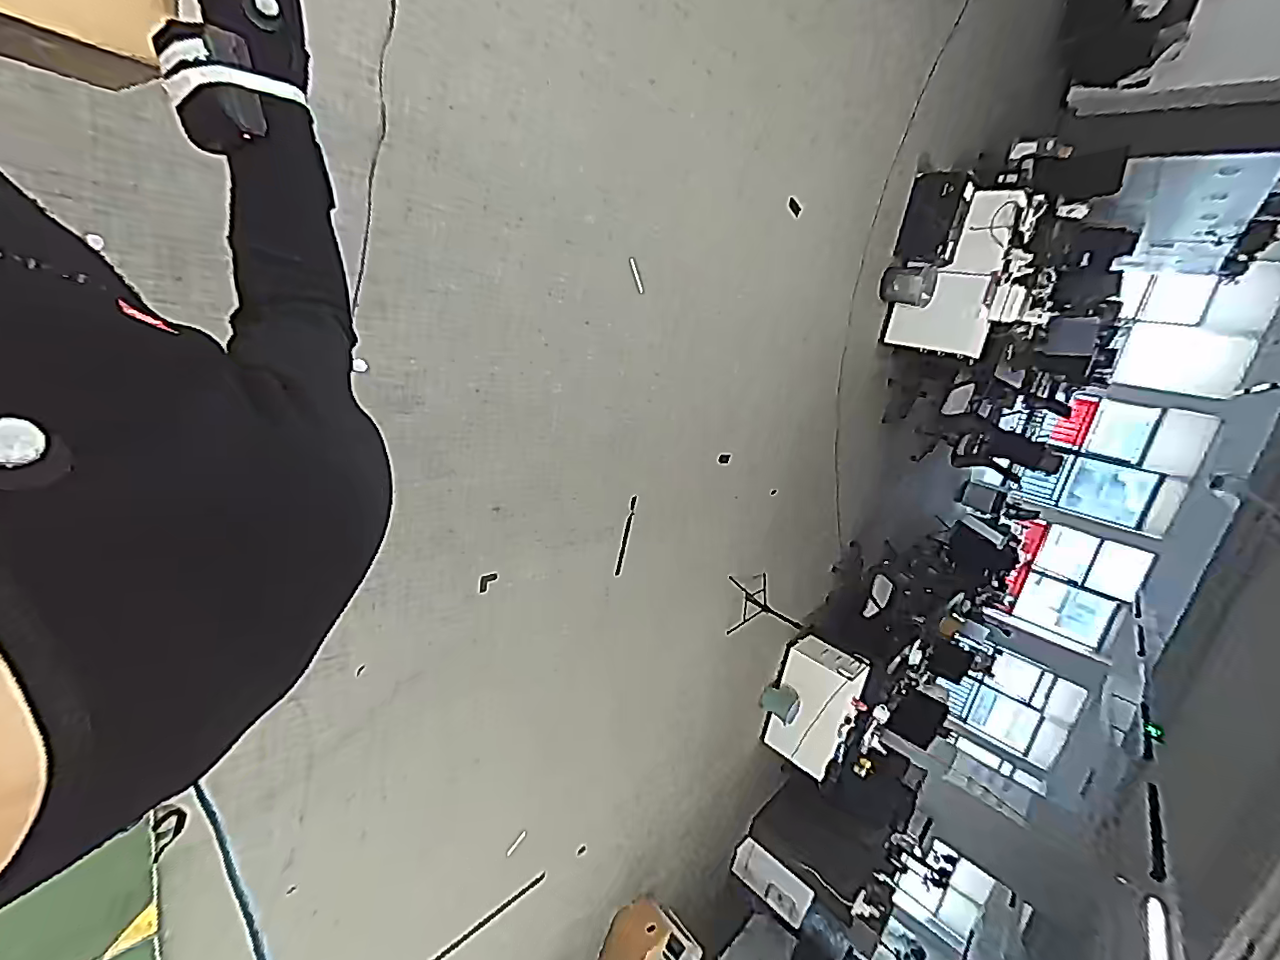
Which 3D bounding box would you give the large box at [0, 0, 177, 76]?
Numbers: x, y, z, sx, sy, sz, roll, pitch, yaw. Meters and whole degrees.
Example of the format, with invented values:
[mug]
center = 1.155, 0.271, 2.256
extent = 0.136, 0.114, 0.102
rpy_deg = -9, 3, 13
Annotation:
[large box]
center = -0.544, -0.477, 0.281
extent = 0.408, 0.320, 0.320
rpy_deg = -10, 120, -48
